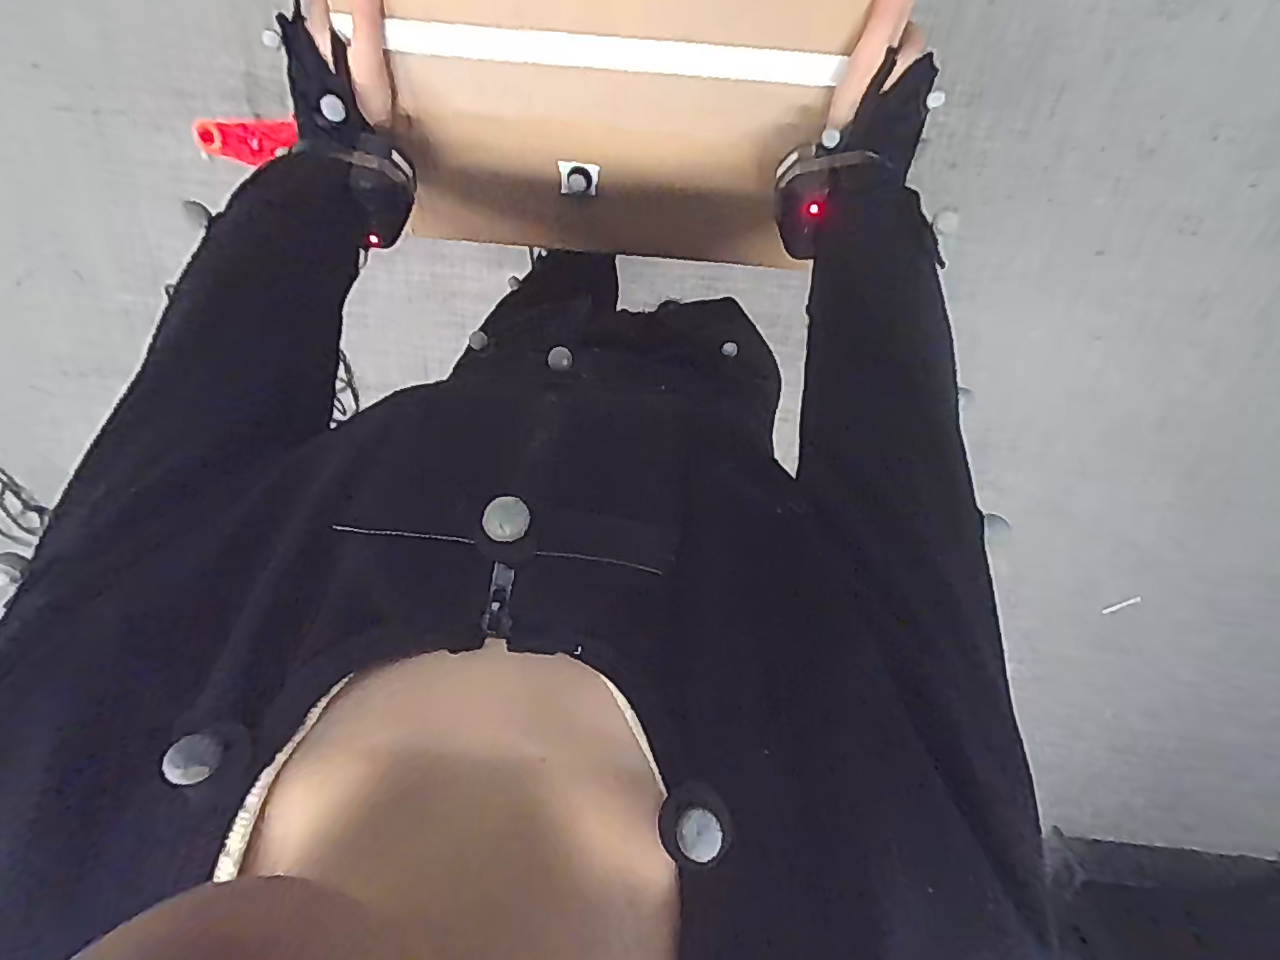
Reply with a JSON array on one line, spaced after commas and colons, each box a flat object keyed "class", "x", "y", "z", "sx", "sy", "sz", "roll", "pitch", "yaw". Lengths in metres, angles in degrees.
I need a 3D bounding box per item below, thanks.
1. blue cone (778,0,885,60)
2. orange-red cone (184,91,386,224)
[{"class": "blue cone", "x": 0.340, "y": -0.801, "z": 0.819, "sx": 0.192, "sy": 0.380, "sz": 0.193, "roll": 6, "pitch": 116, "yaw": 1}, {"class": "orange-red cone", "x": -0.656, "y": -0.598, "z": 0.972, "sx": 0.199, "sy": 0.360, "sz": 0.198, "roll": 25, "pitch": 113, "yaw": -6}]
